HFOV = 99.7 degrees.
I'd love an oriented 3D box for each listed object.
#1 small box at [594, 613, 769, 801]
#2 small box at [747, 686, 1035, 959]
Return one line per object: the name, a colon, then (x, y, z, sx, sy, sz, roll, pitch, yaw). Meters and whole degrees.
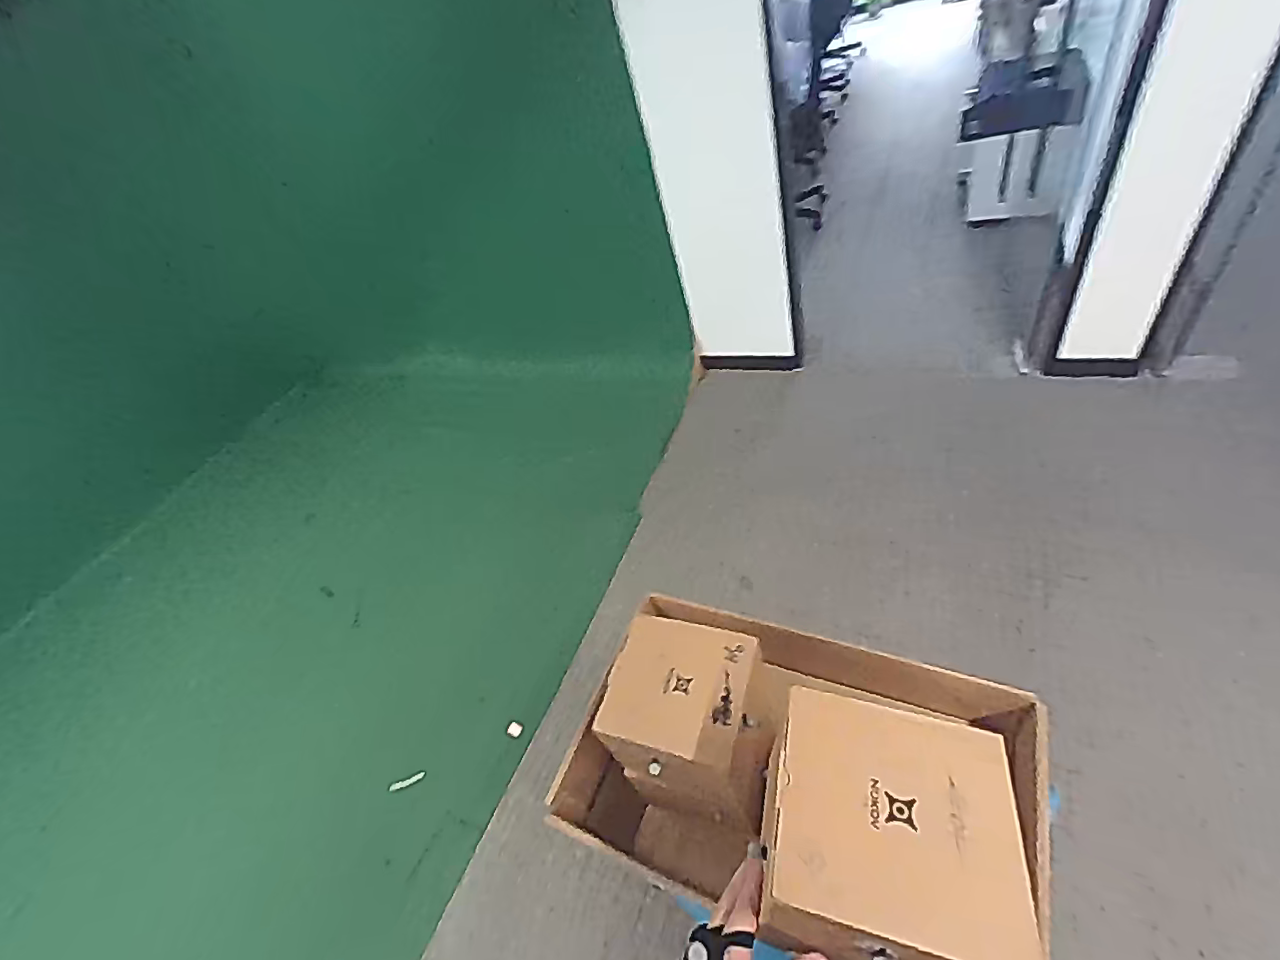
small box: (0.067, 0.306, 0.732, 0.179, 0.176, 0.168, 5, 50, 24)
small box: (0.193, 0.311, 0.466, 0.179, 0.176, 0.168, 10, 44, 14)
